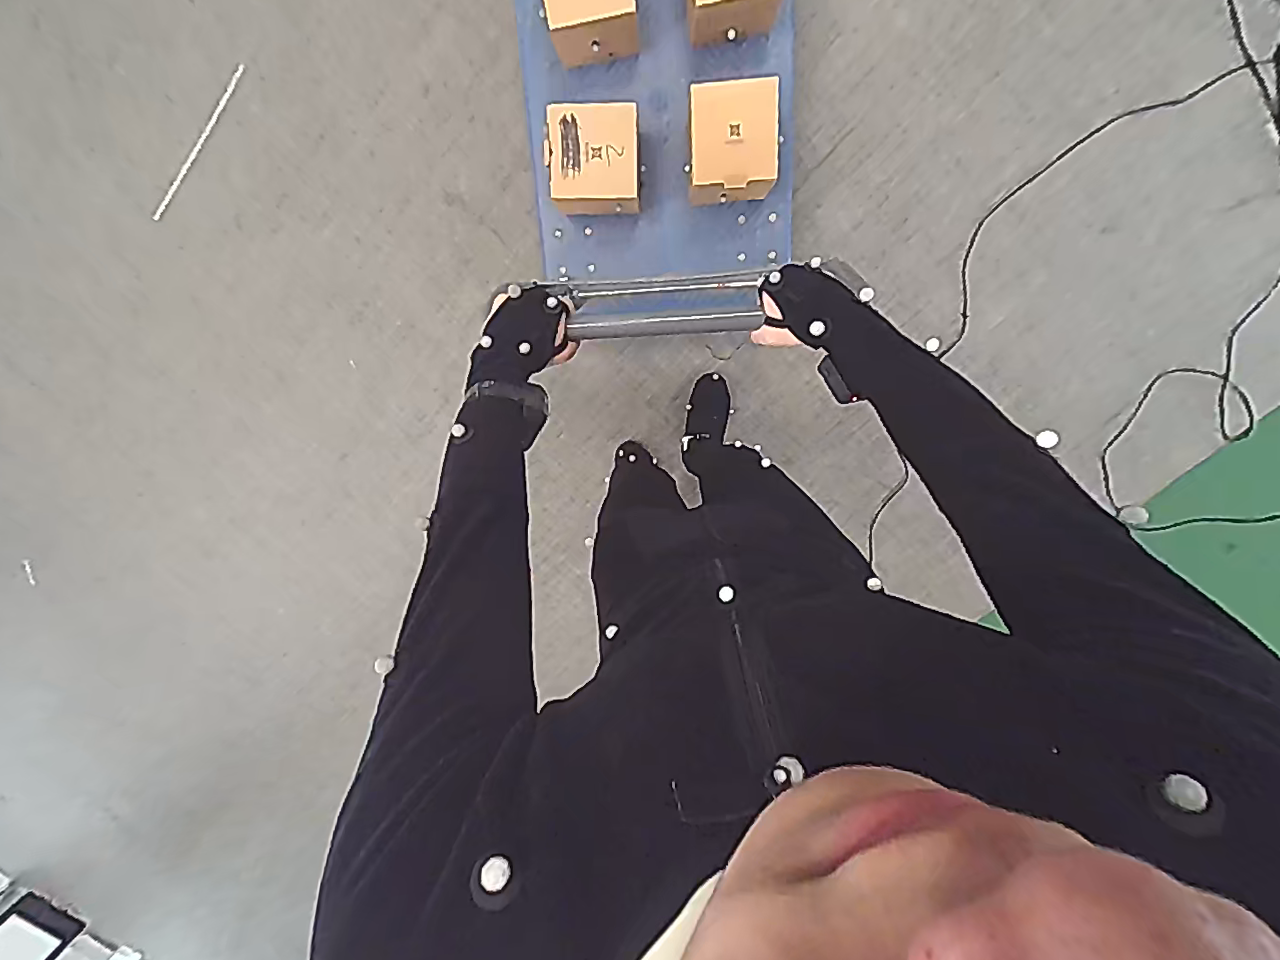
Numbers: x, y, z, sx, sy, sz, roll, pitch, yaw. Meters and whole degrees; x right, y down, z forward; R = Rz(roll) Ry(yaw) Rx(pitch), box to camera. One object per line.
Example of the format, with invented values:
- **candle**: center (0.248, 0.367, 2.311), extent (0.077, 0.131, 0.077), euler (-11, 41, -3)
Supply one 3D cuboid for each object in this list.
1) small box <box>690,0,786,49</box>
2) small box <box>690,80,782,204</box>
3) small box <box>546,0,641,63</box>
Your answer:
- **small box**: center (0.178, -0.965, 1.019), extent (0.168, 0.176, 0.179), euler (-7, 107, 5)
- **small box**: center (0.191, -0.681, 1.107), extent (0.168, 0.176, 0.179), euler (-3, 108, 4)
- **small box**: center (-0.091, -0.940, 1.039), extent (0.168, 0.176, 0.179), euler (-8, 107, 4)
